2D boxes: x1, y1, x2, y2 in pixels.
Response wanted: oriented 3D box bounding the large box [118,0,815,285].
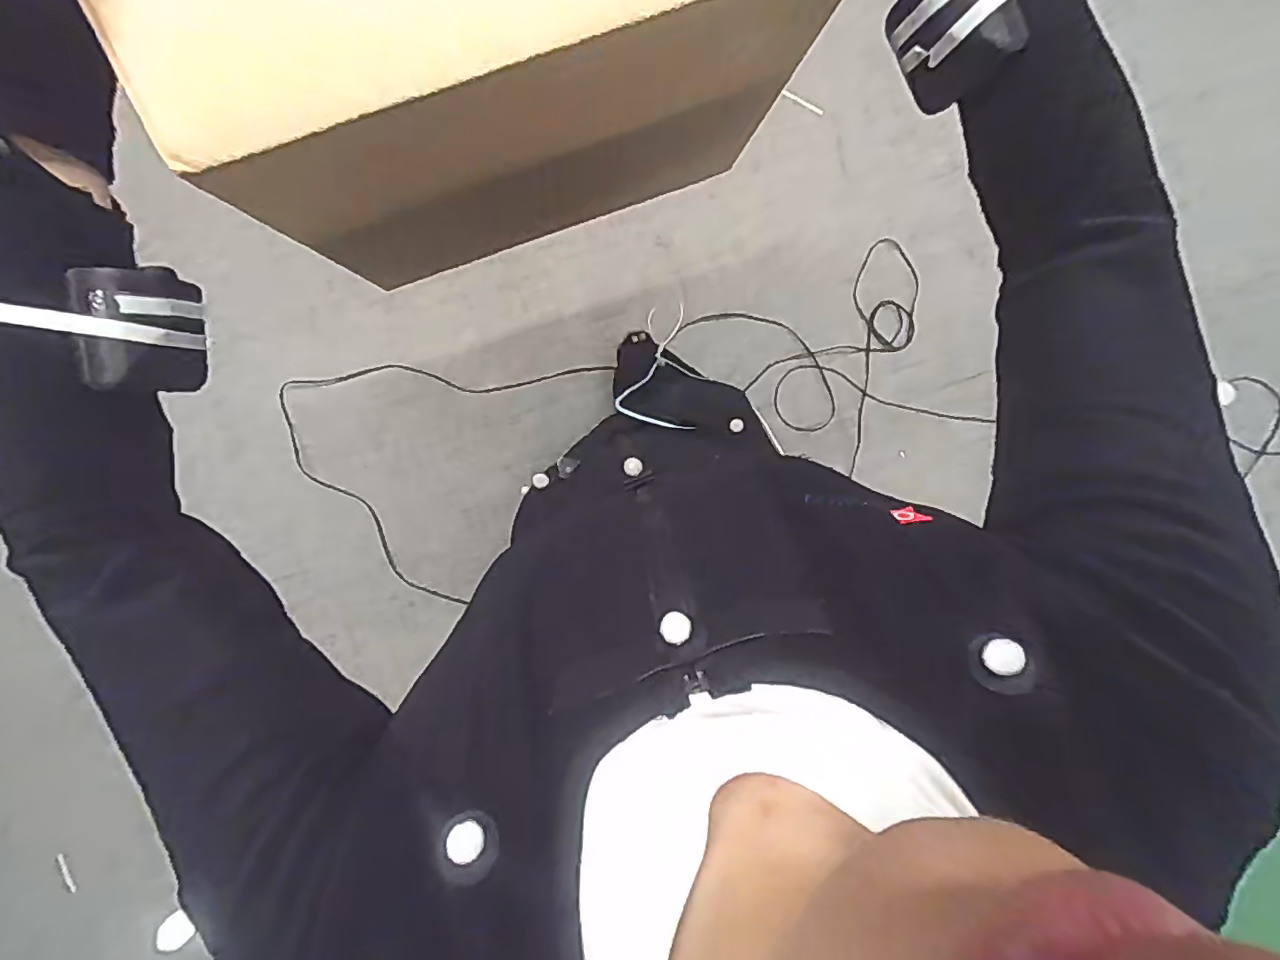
[{"bbox_3d":[-0.126,-0.399,0.421,0.408,0.320,0.320,-21,100,-4],"label":"large box"}]
